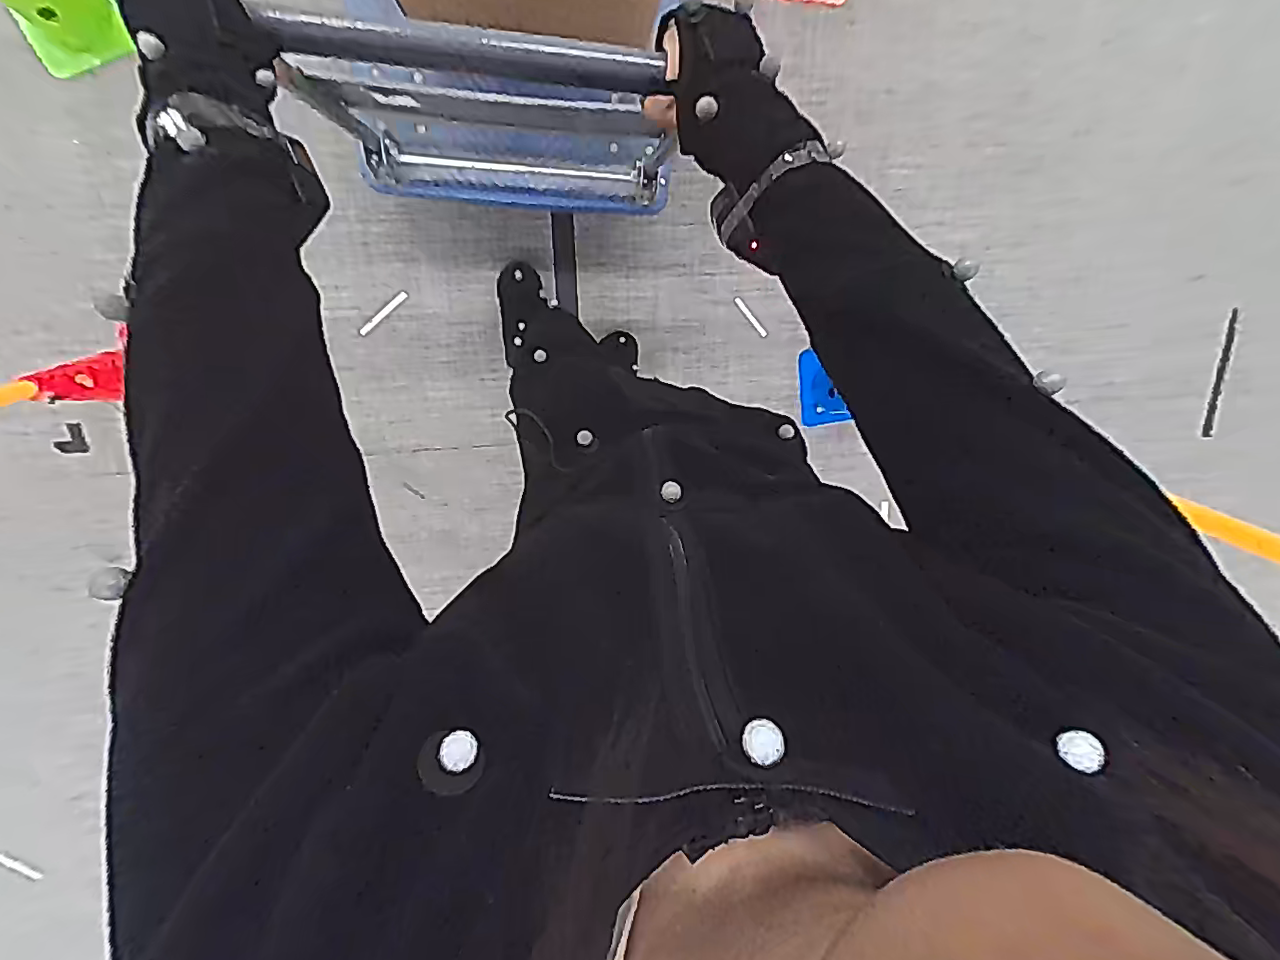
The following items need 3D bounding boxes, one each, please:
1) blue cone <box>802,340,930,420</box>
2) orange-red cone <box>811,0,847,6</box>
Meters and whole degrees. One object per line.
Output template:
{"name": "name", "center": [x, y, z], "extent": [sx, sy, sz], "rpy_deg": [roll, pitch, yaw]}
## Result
{"name": "blue cone", "center": [0.538, -0.213, 1.249], "extent": [0.193, 0.380, 0.192], "rpy_deg": [-8, 106, -6]}
{"name": "orange-red cone", "center": [0.383, -1.063, 0.959], "extent": [0.199, 0.360, 0.198], "rpy_deg": [2, 107, -9]}
